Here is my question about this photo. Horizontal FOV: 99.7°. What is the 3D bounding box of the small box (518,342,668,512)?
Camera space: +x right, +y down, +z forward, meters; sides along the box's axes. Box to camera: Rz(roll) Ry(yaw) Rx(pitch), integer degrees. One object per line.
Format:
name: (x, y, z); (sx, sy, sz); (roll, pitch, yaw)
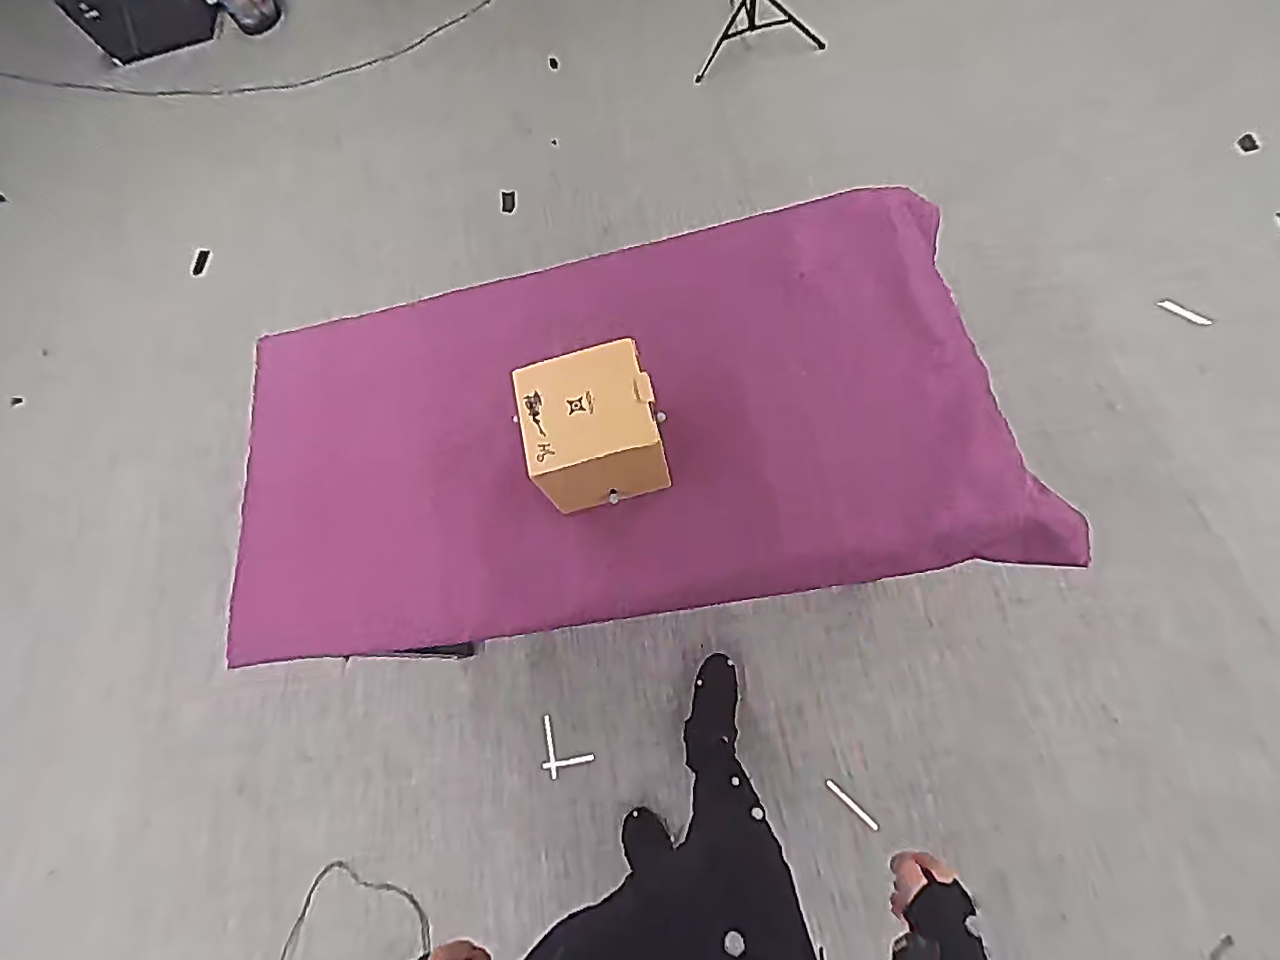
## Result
small box: (-0.060, -0.068, 0.786); (0.179, 0.176, 0.168); (-14, 68, 2)
